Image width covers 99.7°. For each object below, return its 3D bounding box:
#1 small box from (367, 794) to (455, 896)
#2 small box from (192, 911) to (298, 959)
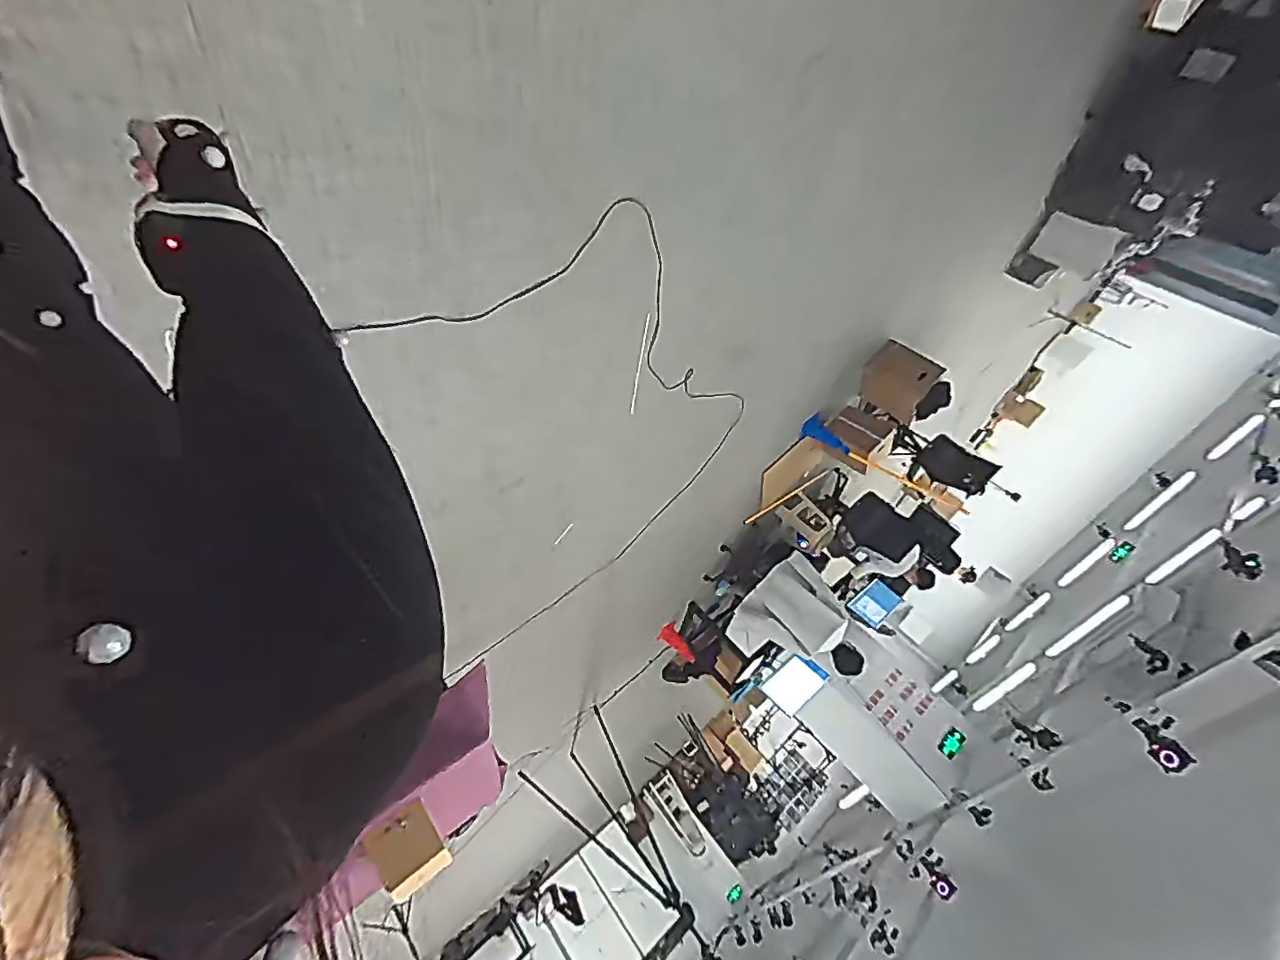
[{"bbox_3d":[-0.657,1.047,1.557,0.168,0.176,0.179,-28,146,-32],"label":"small box"},{"bbox_3d":[-0.975,1.219,1.343,0.168,0.176,0.179,-29,148,-32],"label":"small box"}]
